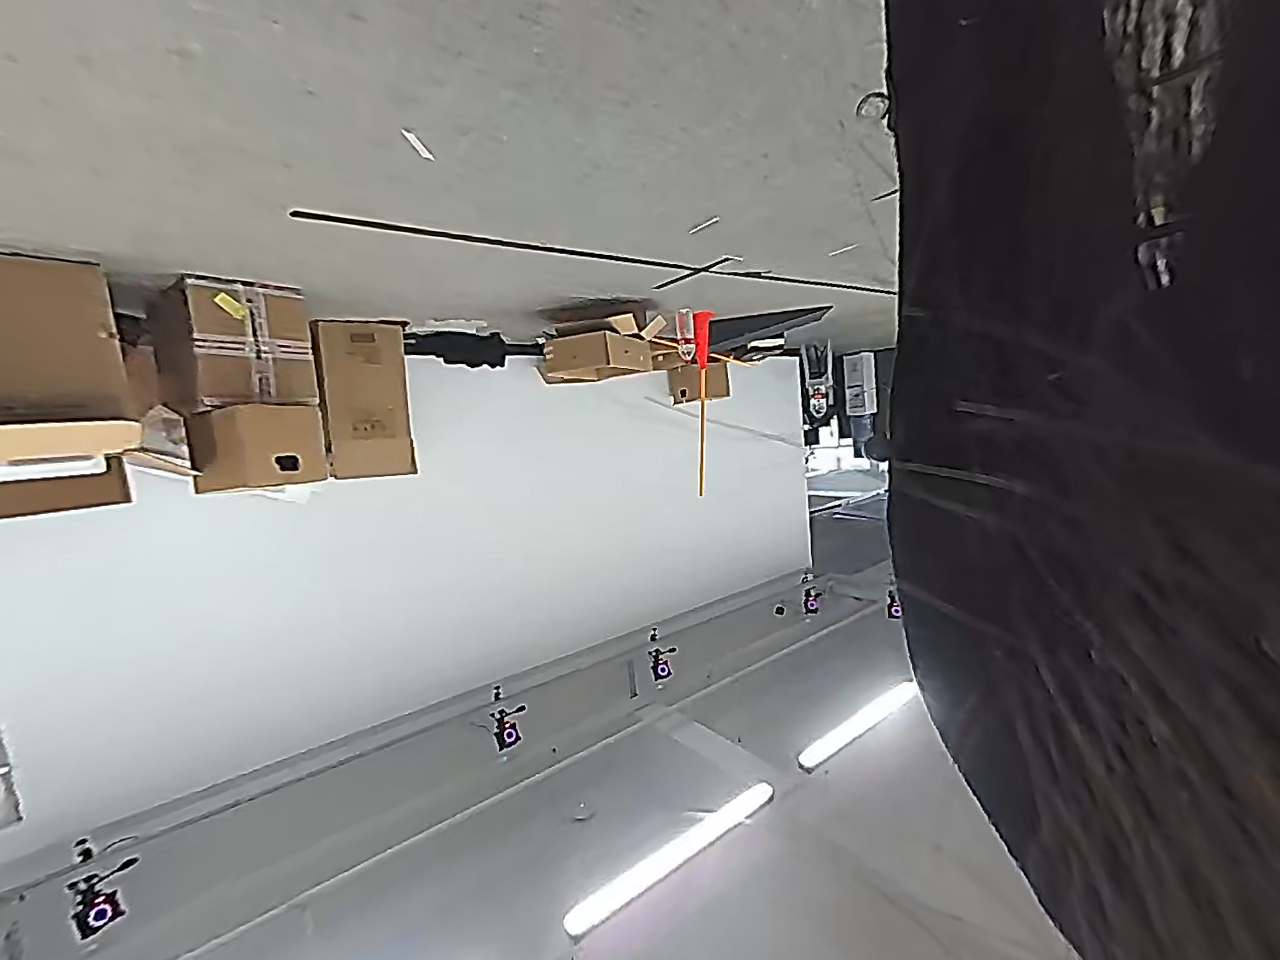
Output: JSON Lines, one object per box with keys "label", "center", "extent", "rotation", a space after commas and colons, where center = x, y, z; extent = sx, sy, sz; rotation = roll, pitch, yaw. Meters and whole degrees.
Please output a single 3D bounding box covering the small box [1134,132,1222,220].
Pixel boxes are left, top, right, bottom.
{"label": "small box", "center": [1.682, -0.950, 1.699], "extent": [0.179, 0.176, 0.168], "rotation": [-3, -174, 36]}
